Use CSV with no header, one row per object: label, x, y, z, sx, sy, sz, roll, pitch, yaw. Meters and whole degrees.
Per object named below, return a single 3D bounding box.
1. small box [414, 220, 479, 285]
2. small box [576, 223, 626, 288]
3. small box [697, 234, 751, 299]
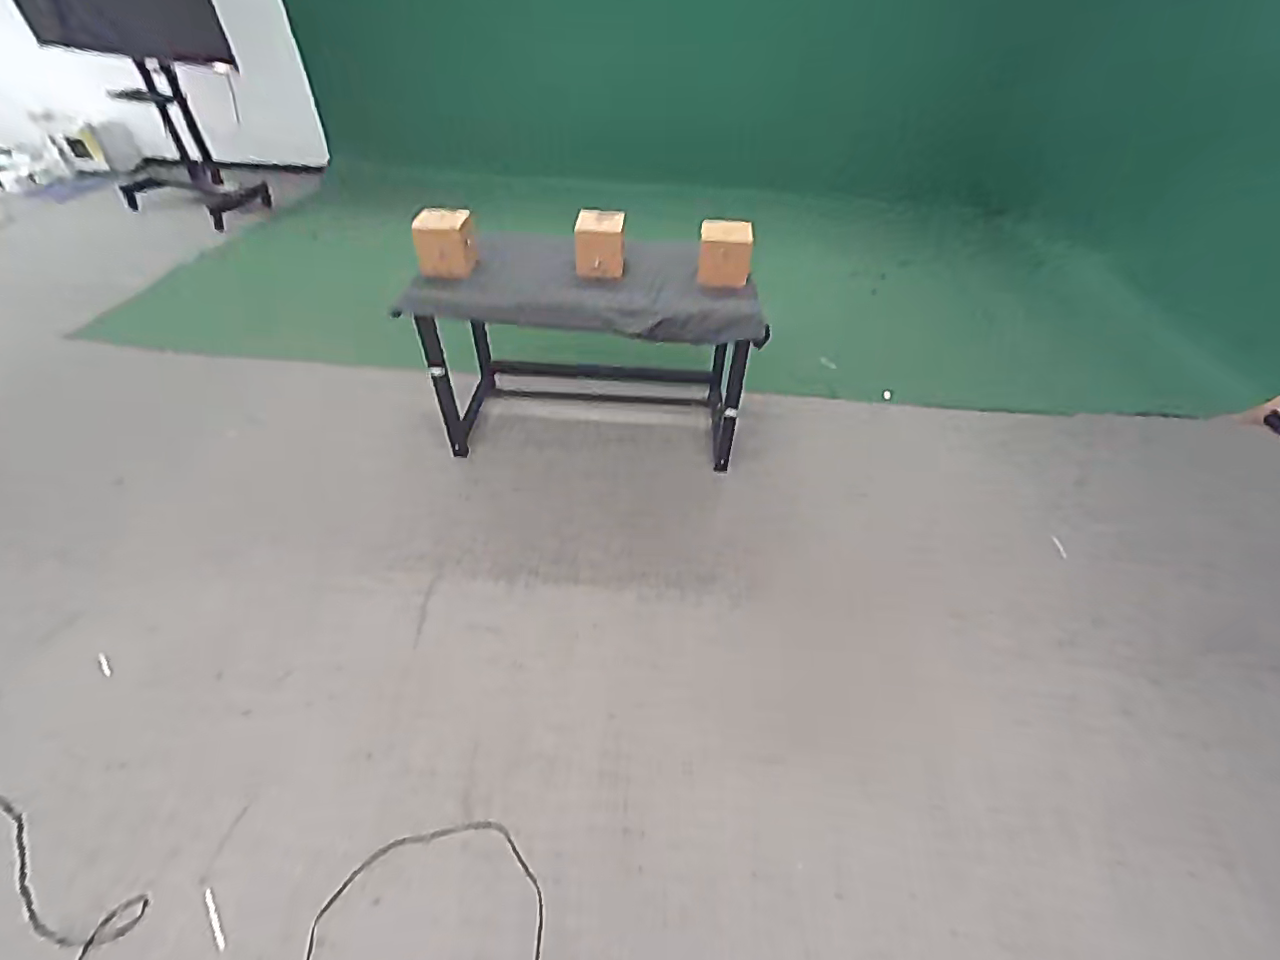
small box,-0.692,-0.823,1.960,0.168,0.176,0.179,2,44,-2
small box,-0.142,-0.831,2.001,0.168,0.176,0.179,3,45,1
small box,0.301,-0.776,1.969,0.179,0.176,0.168,6,45,1
